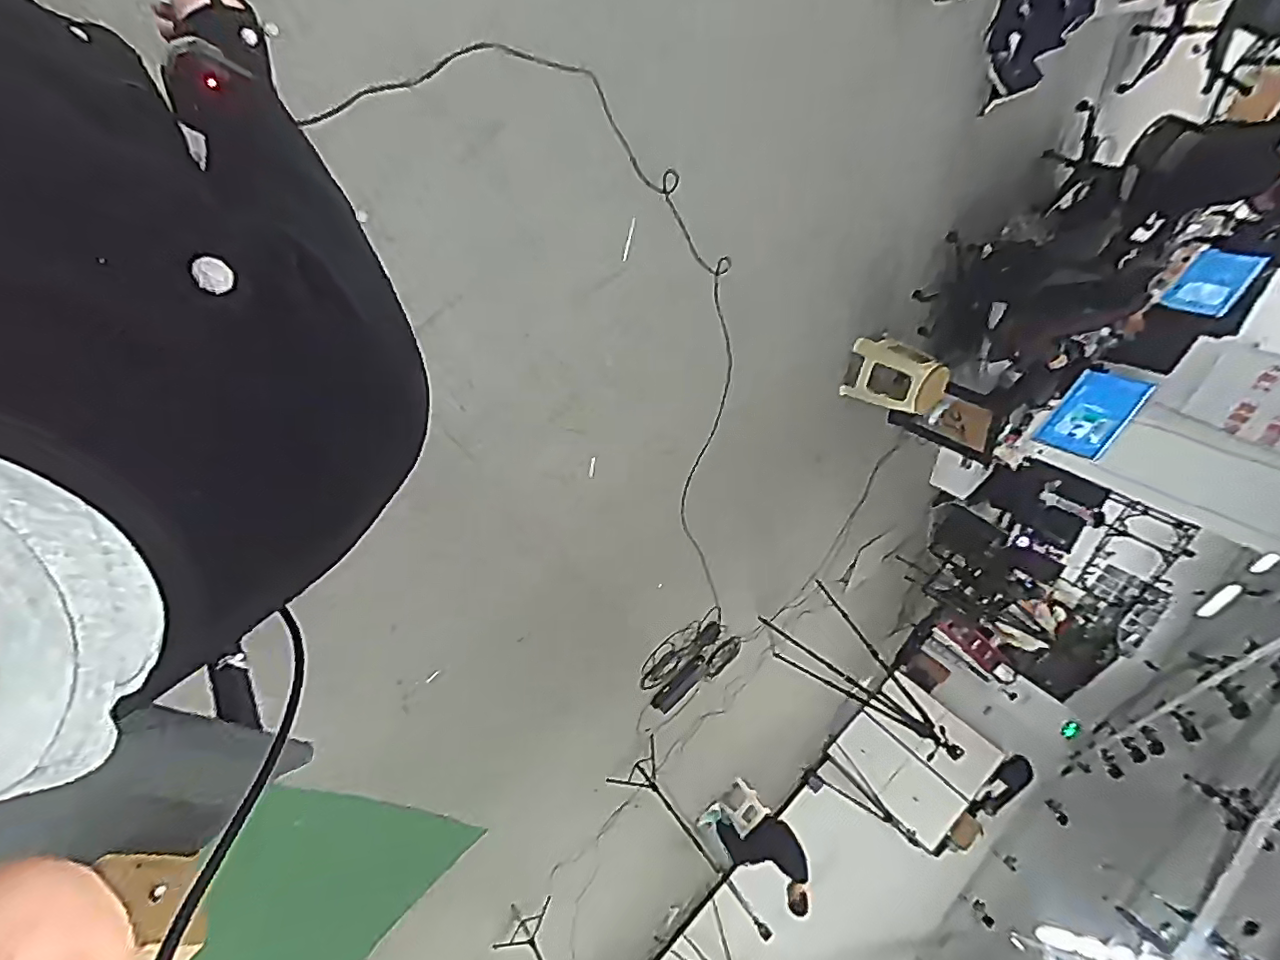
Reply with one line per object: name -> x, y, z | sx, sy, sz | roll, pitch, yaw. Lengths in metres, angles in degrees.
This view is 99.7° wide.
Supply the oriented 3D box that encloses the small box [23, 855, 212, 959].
small box -> -0.876, 0.769, 0.907 | 0.179, 0.176, 0.168 | -45, 140, -11
